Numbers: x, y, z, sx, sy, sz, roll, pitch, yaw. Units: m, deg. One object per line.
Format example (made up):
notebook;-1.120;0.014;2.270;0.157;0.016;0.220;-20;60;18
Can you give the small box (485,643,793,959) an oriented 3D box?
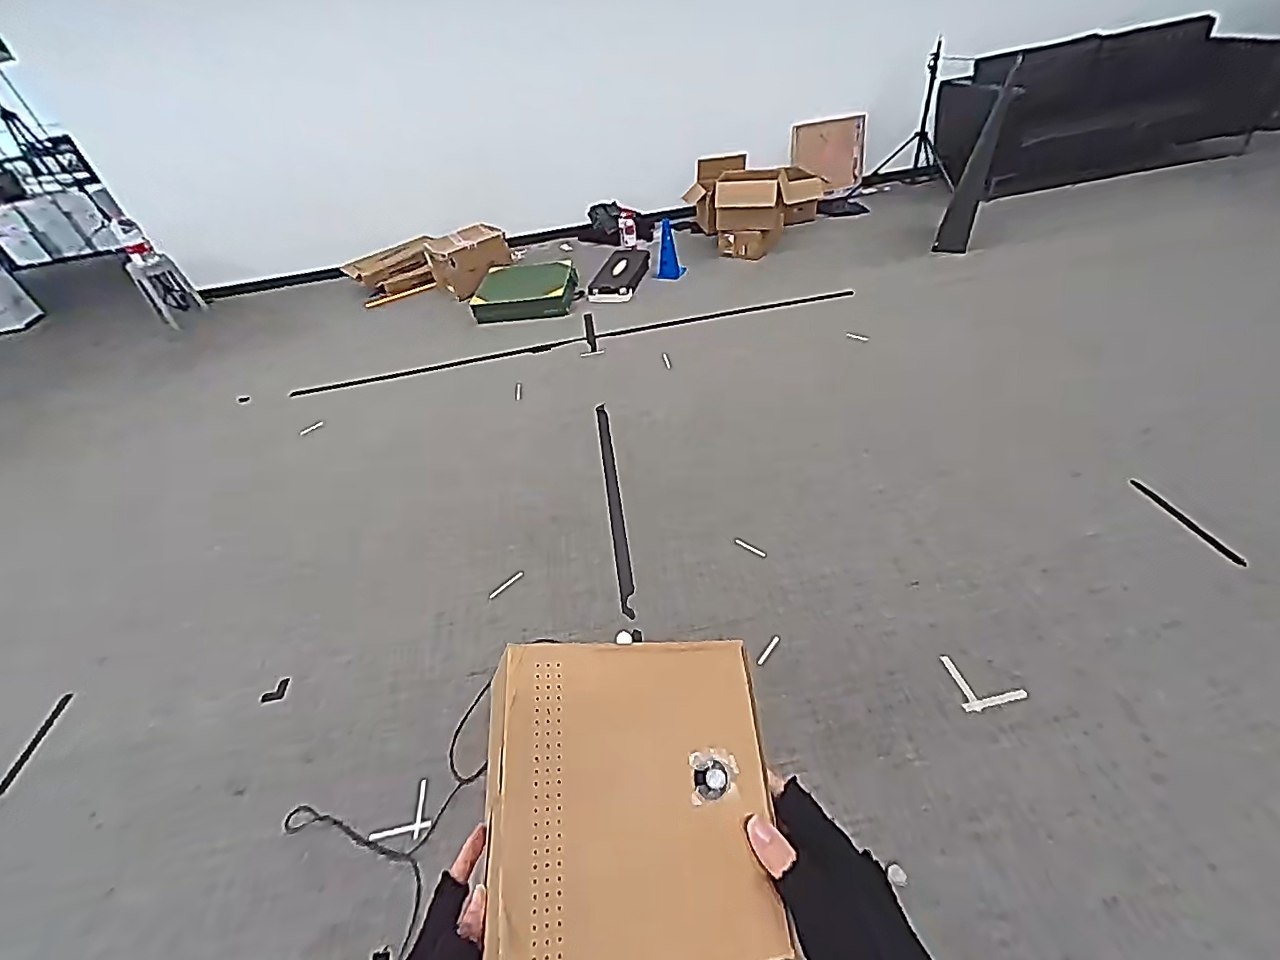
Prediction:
small box;-0.018;0.227;0.397;0.176;0.168;0.179;4;61;-16
